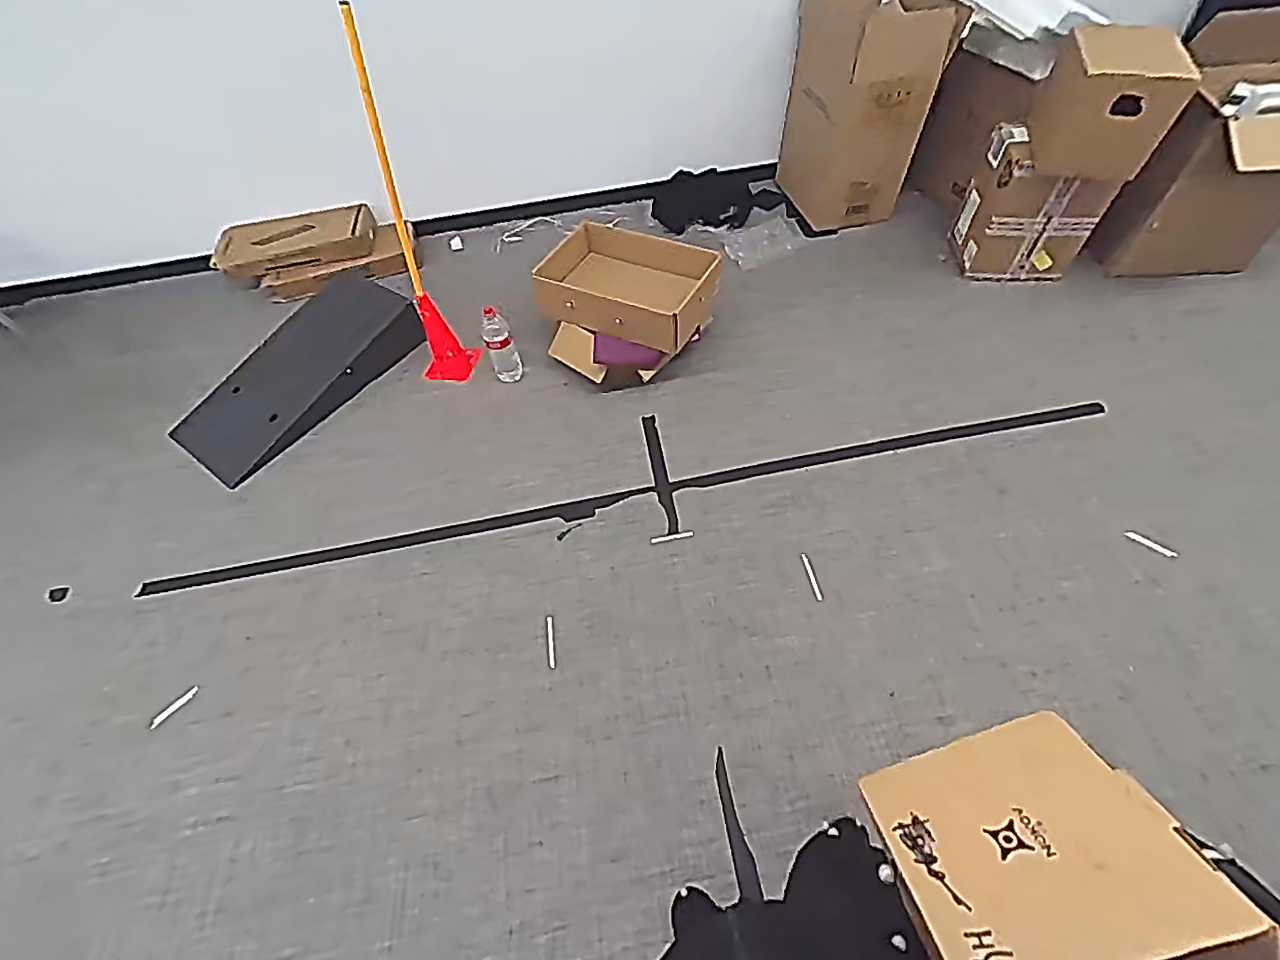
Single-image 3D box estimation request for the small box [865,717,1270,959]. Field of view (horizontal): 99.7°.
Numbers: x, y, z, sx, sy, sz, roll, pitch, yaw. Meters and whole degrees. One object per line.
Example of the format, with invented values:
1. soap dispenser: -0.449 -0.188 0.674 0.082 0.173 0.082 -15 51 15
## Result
1. small box: 0.309 0.330 0.419 0.179 0.176 0.168 -23 19 6
